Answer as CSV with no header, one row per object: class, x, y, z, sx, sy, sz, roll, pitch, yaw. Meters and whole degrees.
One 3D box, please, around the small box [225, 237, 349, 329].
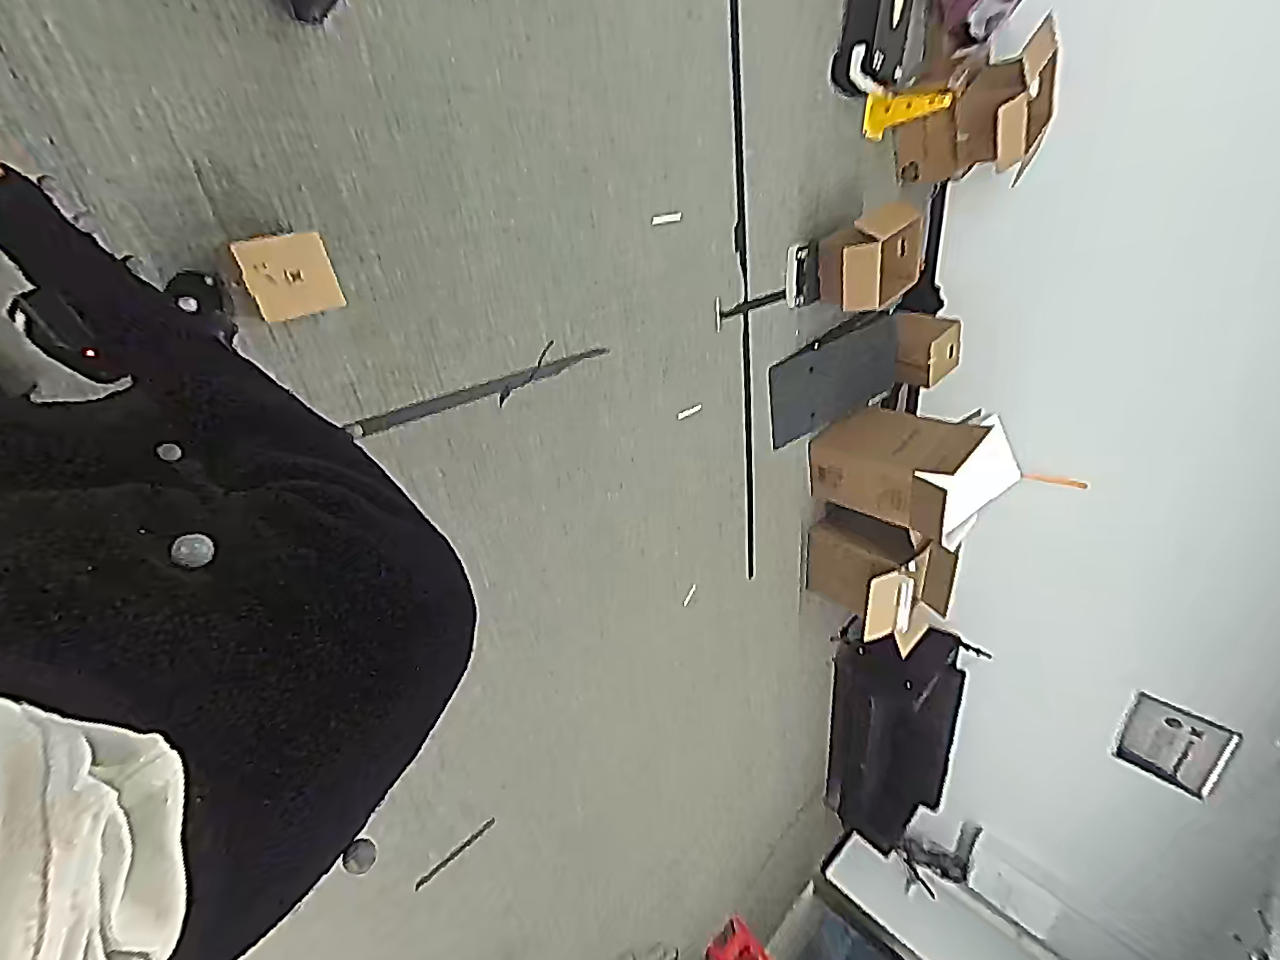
small box,-0.811,-0.459,1.244,0.179,0.176,0.168,-30,125,-32
